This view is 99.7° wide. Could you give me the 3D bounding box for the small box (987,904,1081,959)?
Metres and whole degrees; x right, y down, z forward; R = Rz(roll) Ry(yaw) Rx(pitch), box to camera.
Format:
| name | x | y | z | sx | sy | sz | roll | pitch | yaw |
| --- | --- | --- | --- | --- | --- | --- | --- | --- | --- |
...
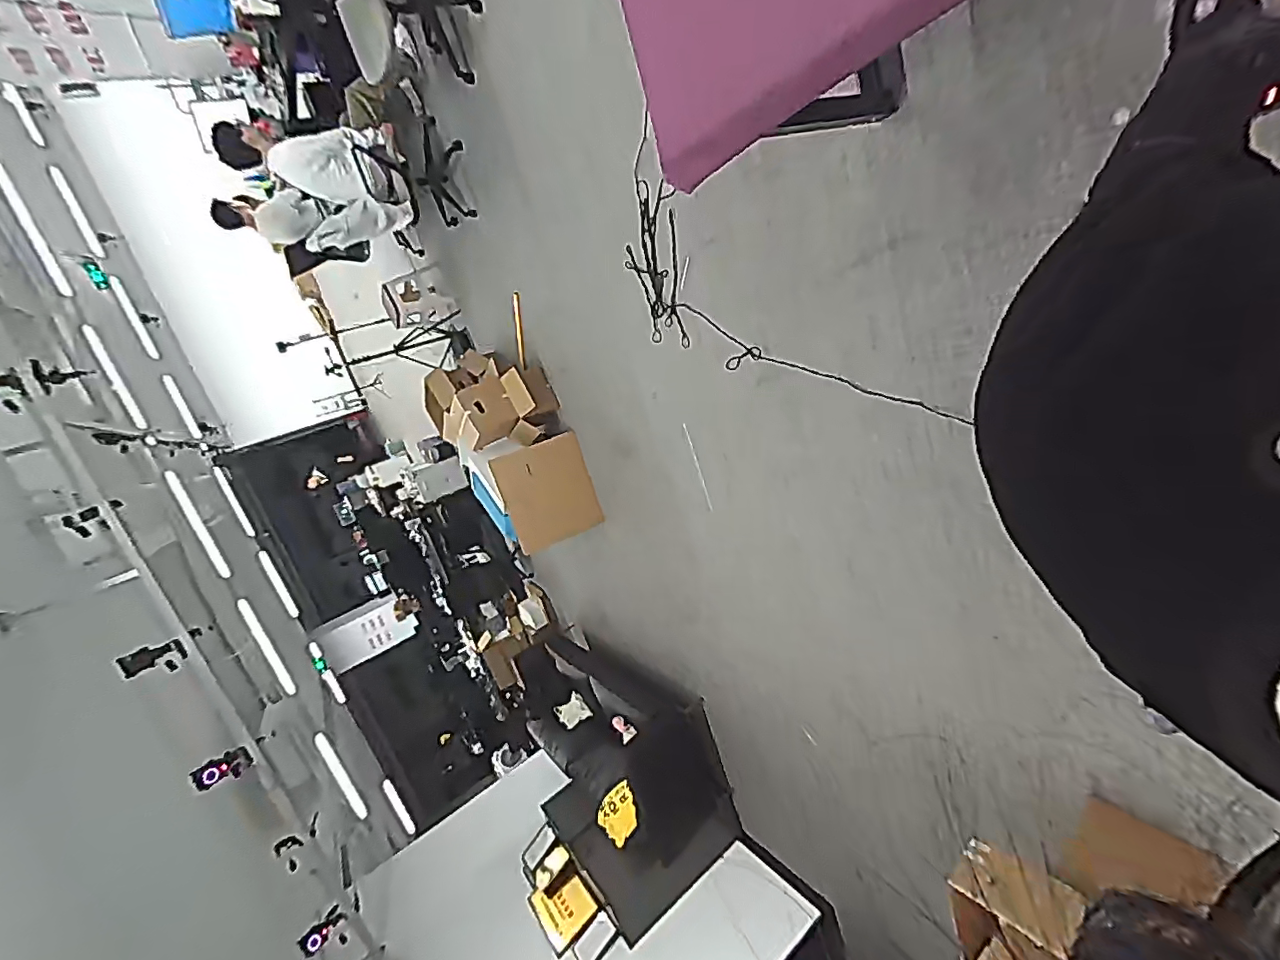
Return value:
| name | x | y | z | sx | sy | sz | roll | pitch | yaw |
| --- | --- | --- | --- | --- | --- | --- | --- | --- | --- |
| small box | 1.067 | 1.322 | 1.470 | 0.168 | 0.176 | 0.179 | 20 | 128 | 51 |
